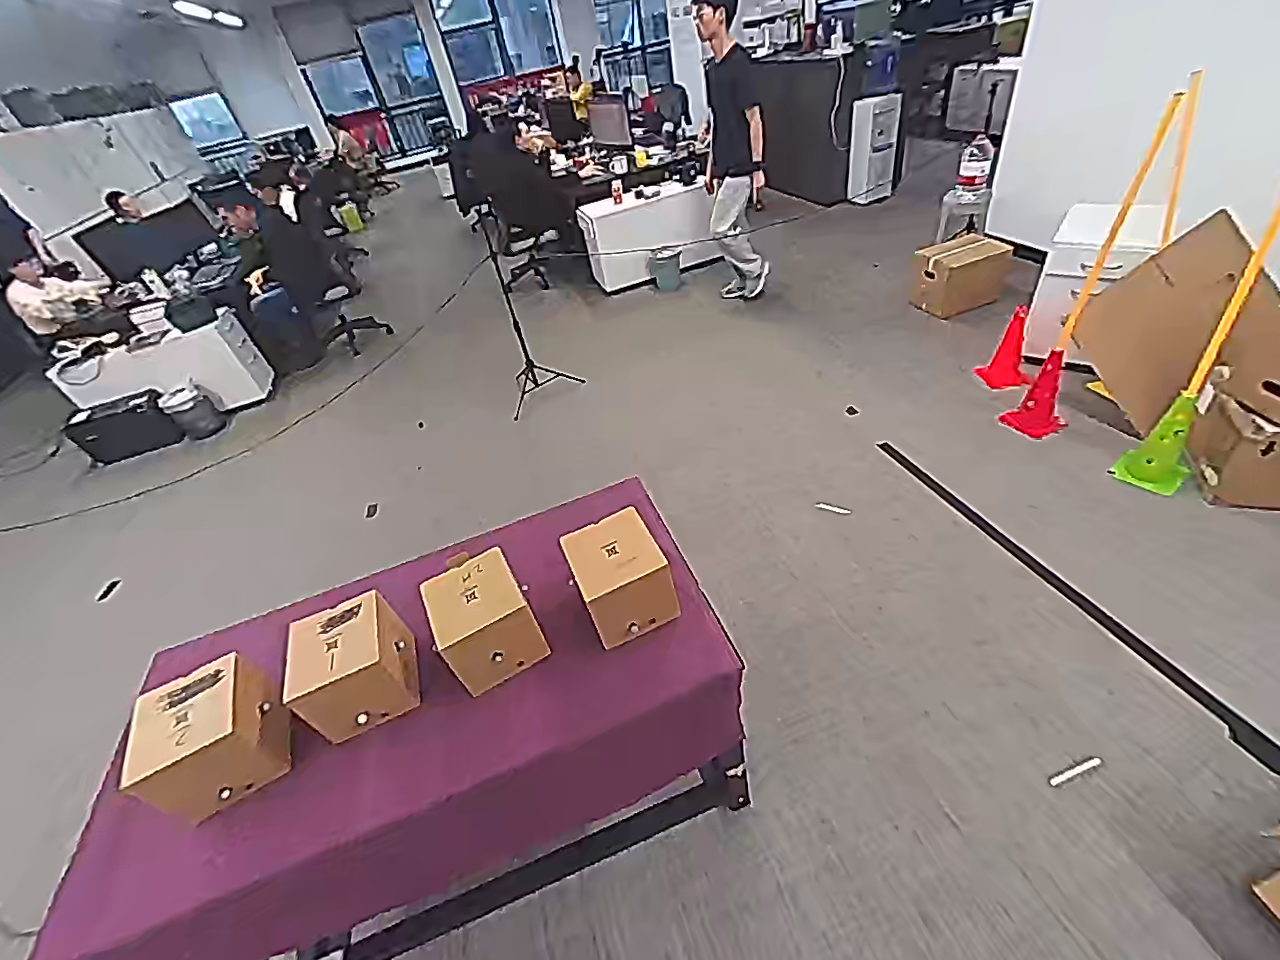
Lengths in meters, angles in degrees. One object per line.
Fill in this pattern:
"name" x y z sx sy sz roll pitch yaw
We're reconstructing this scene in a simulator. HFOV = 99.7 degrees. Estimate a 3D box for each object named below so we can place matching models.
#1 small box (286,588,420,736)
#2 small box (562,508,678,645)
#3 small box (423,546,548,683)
"small box" -0.539 0.348 1.036 0.168 0.176 0.179 -22 42 -11
"small box" -0.039 0.192 1.083 0.168 0.176 0.179 -23 41 -10
"small box" -0.299 0.269 1.062 0.168 0.176 0.179 -26 42 -15
